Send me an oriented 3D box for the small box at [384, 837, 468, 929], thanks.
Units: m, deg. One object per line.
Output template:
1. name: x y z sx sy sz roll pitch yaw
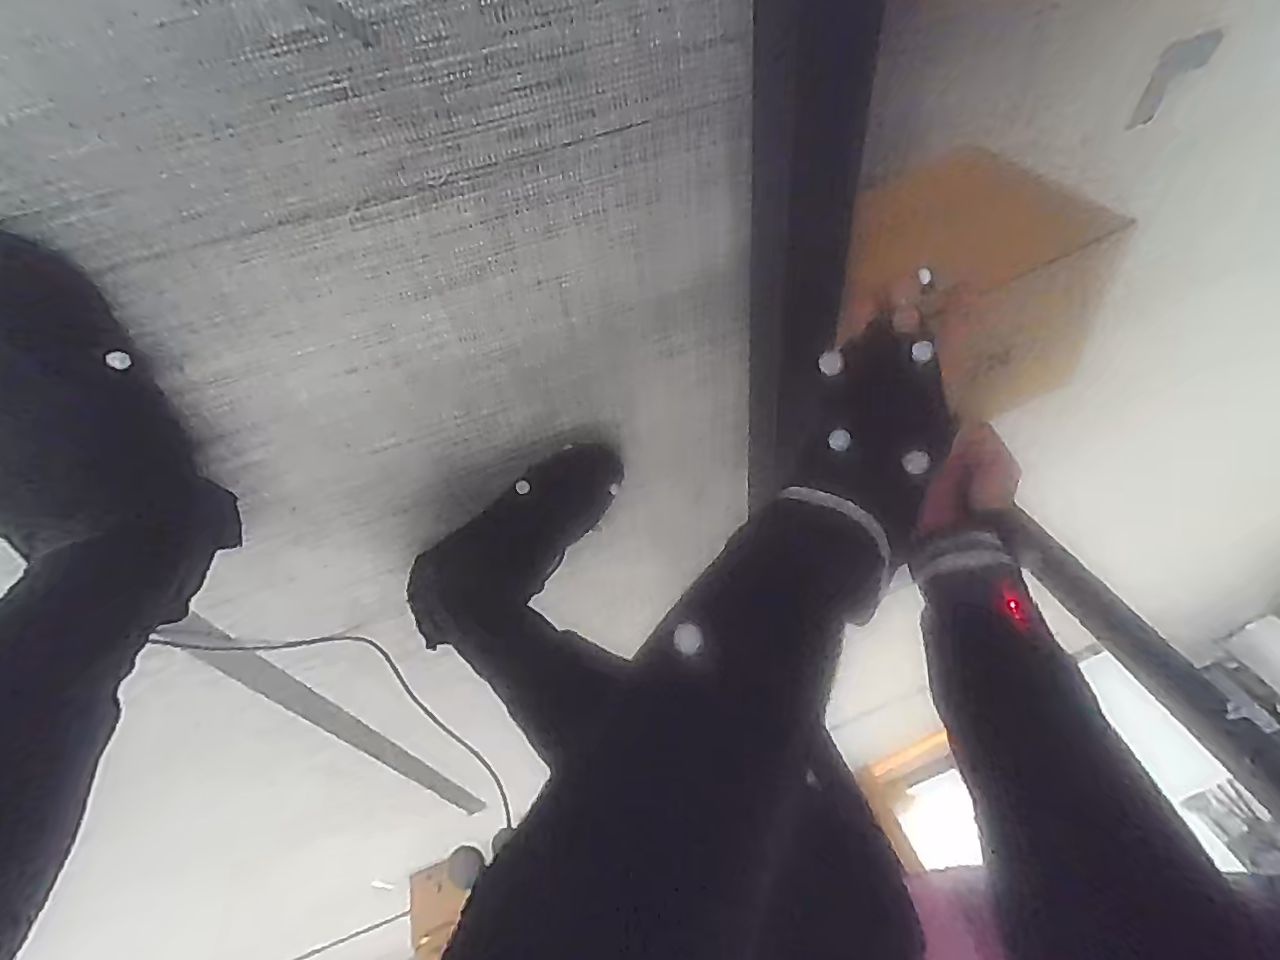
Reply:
1. small box: -0.614 1.152 1.553 0.168 0.176 0.179 -21 141 -6
